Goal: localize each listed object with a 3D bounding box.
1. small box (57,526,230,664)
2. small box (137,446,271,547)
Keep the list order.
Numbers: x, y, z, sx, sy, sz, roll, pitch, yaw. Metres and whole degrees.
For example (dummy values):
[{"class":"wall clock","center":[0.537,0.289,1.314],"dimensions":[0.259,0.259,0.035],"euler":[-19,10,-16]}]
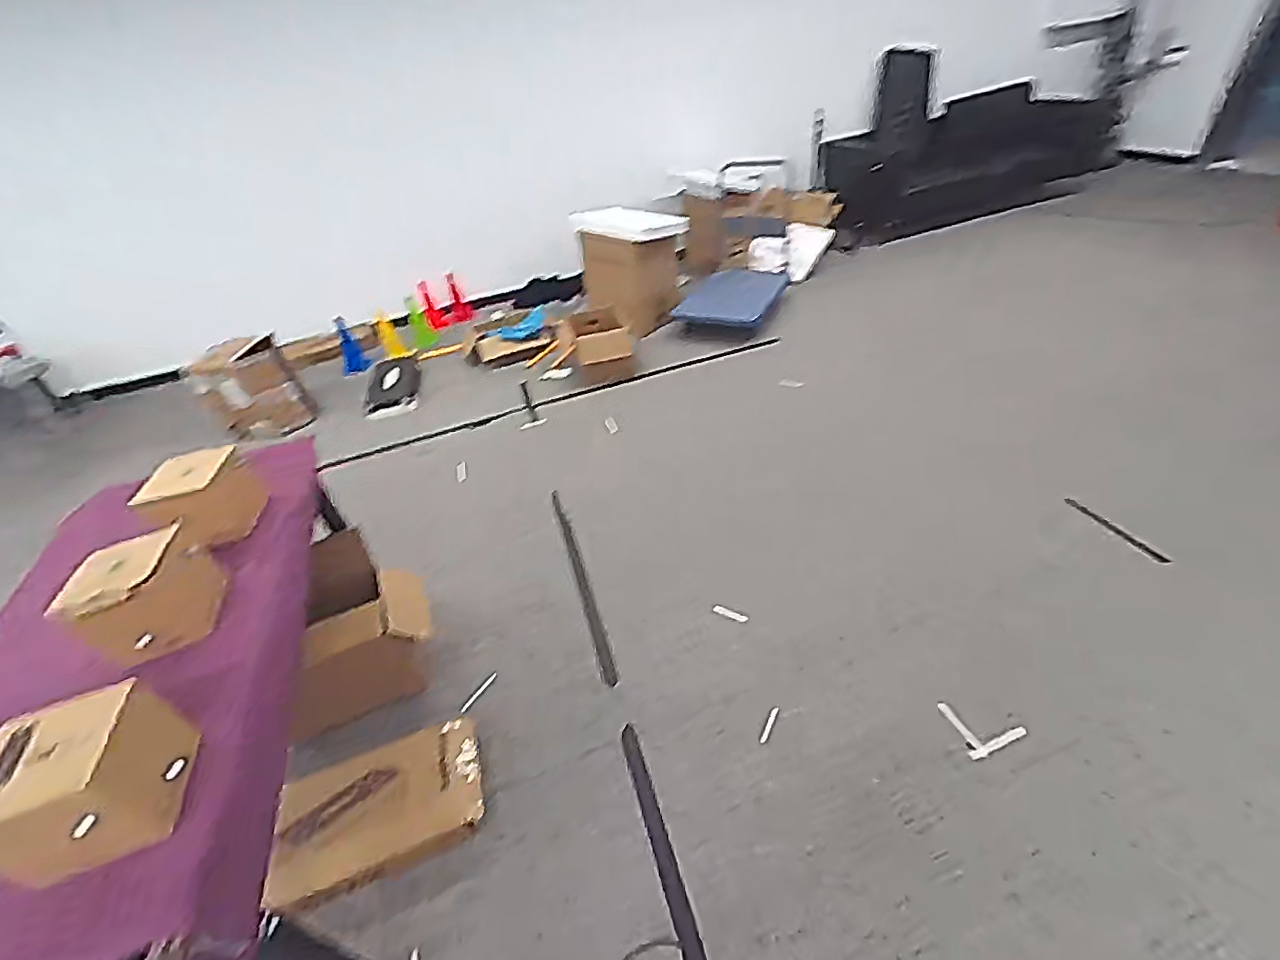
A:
[{"class":"small box","center":[-0.963,0.228,1.075],"dimensions":[0.168,0.176,0.179],"euler":[-20,39,-10]},{"class":"small box","center":[-1.049,0.048,1.323],"dimensions":[0.168,0.176,0.179],"euler":[-14,38,-6]}]
